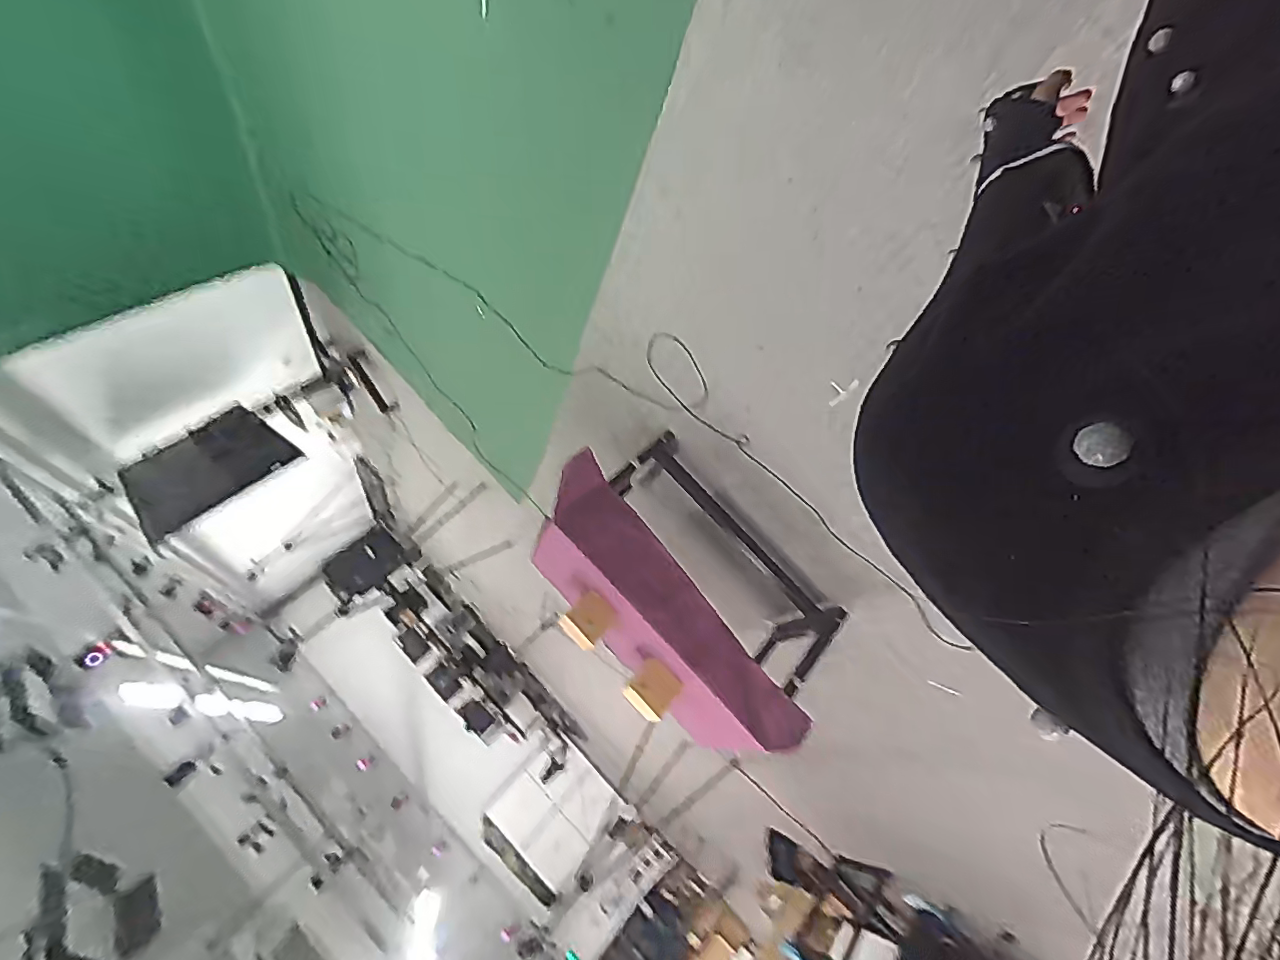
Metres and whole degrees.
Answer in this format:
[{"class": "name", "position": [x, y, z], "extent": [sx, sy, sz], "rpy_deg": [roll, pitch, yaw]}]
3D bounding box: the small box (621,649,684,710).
[{"class": "small box", "position": [0.055, 0.843, 2.280], "extent": [0.179, 0.176, 0.168], "rpy_deg": [46, 151, 6]}]

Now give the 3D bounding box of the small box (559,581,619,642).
[{"class": "small box", "position": [-0.215, 0.559, 2.304], "extent": [0.179, 0.176, 0.168], "rpy_deg": [47, 150, 4]}]
